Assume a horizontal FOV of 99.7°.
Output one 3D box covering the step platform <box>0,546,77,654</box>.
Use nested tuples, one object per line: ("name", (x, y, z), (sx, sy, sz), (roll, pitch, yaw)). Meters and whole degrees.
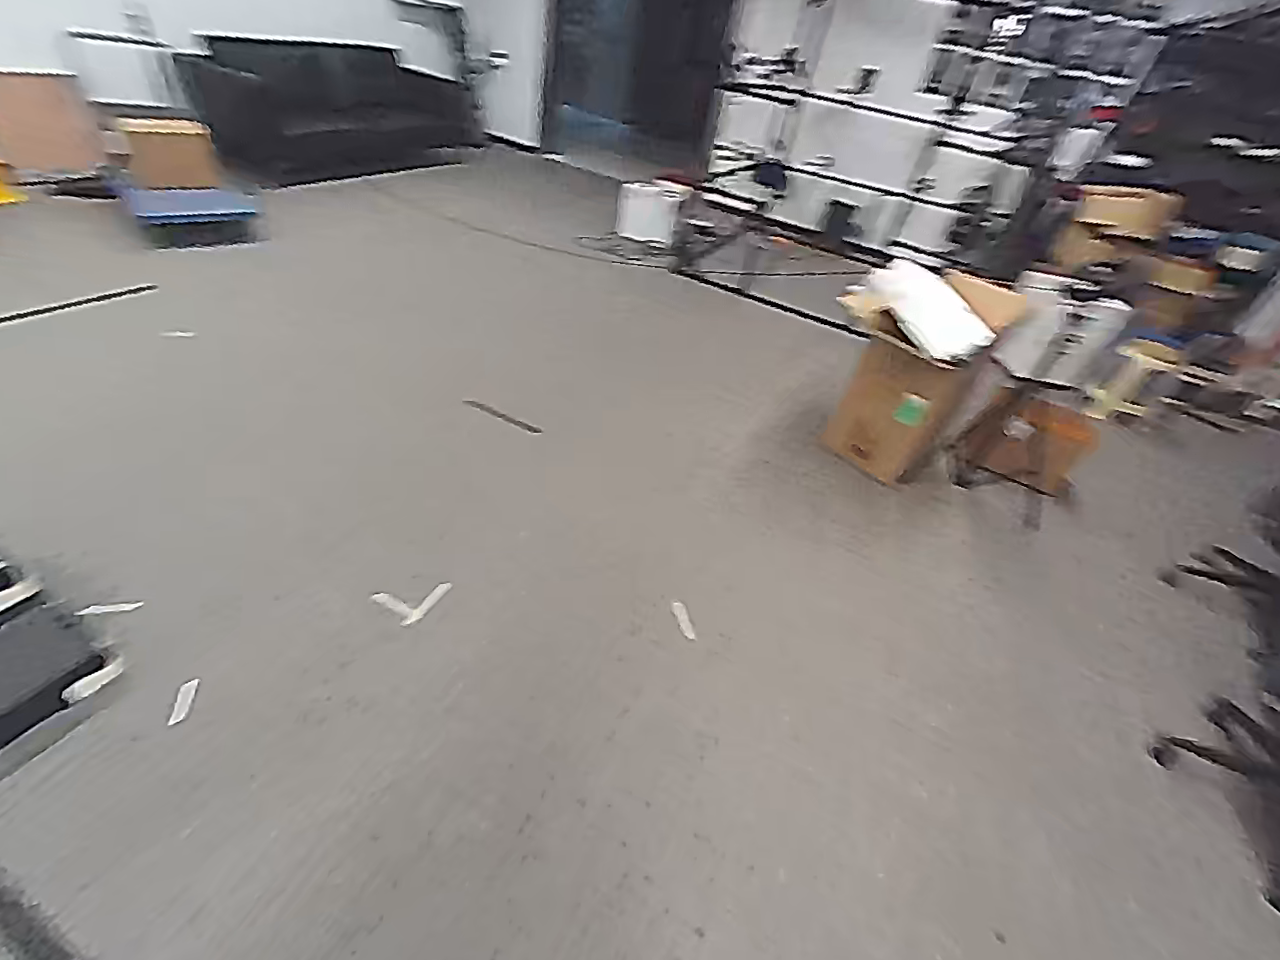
("step platform", (-1.735, 0.422, 1.168), (0.286, 0.204, 0.684), (27, 39, 19))
